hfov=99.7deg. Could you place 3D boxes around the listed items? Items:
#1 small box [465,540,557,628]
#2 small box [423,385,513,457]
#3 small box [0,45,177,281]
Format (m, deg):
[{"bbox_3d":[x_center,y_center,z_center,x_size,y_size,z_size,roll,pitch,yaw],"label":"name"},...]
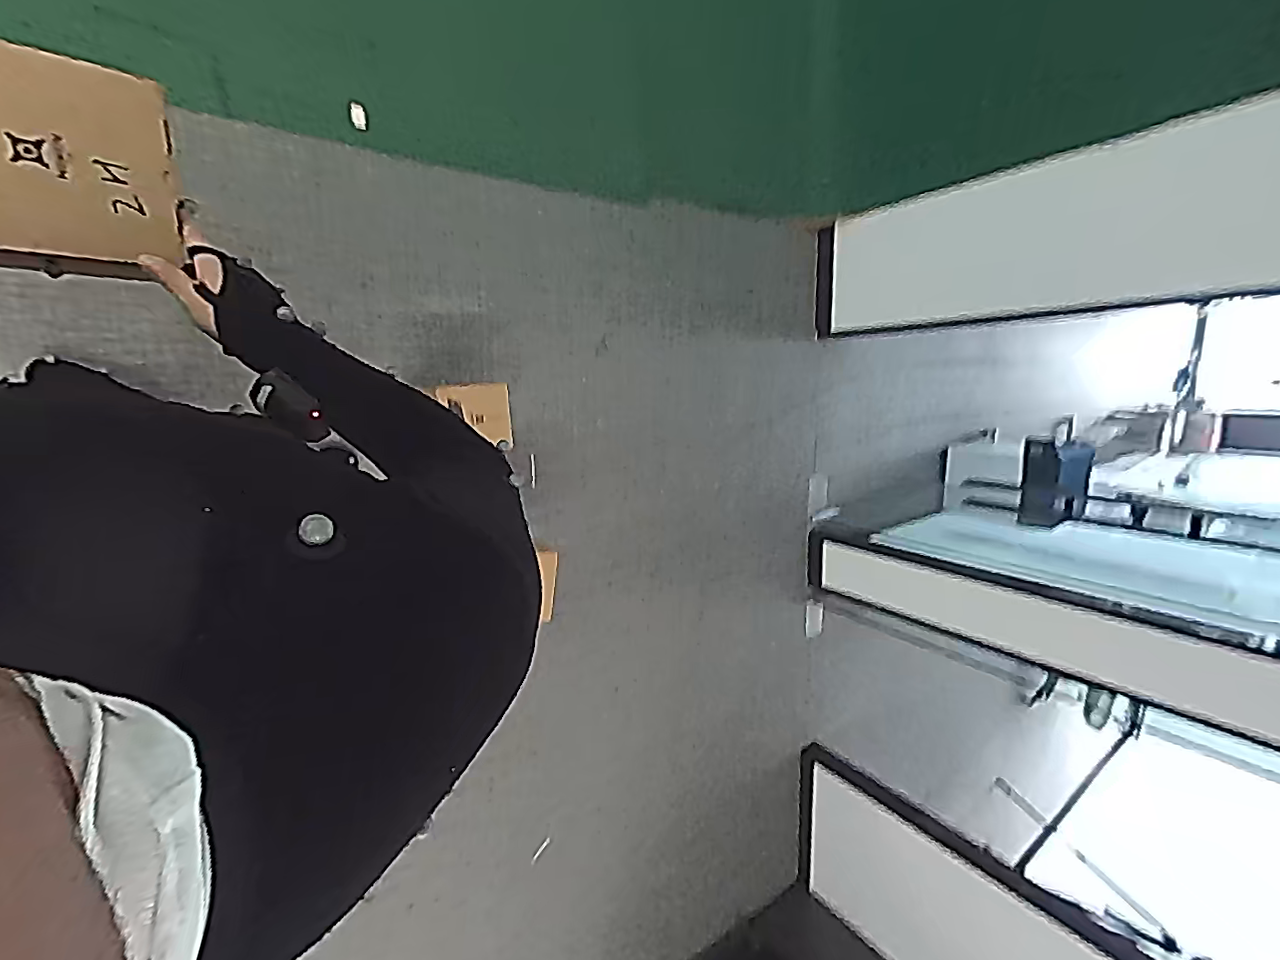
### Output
[{"bbox_3d":[-0.324,0.248,1.338,0.168,0.176,0.179,5,95,-35],"label":"small box"},{"bbox_3d":[-0.445,-0.154,1.384,0.179,0.176,0.168,-11,104,-35],"label":"small box"},{"bbox_3d":[-0.574,-0.291,0.521,0.179,0.176,0.168,-8,107,-38],"label":"small box"}]
